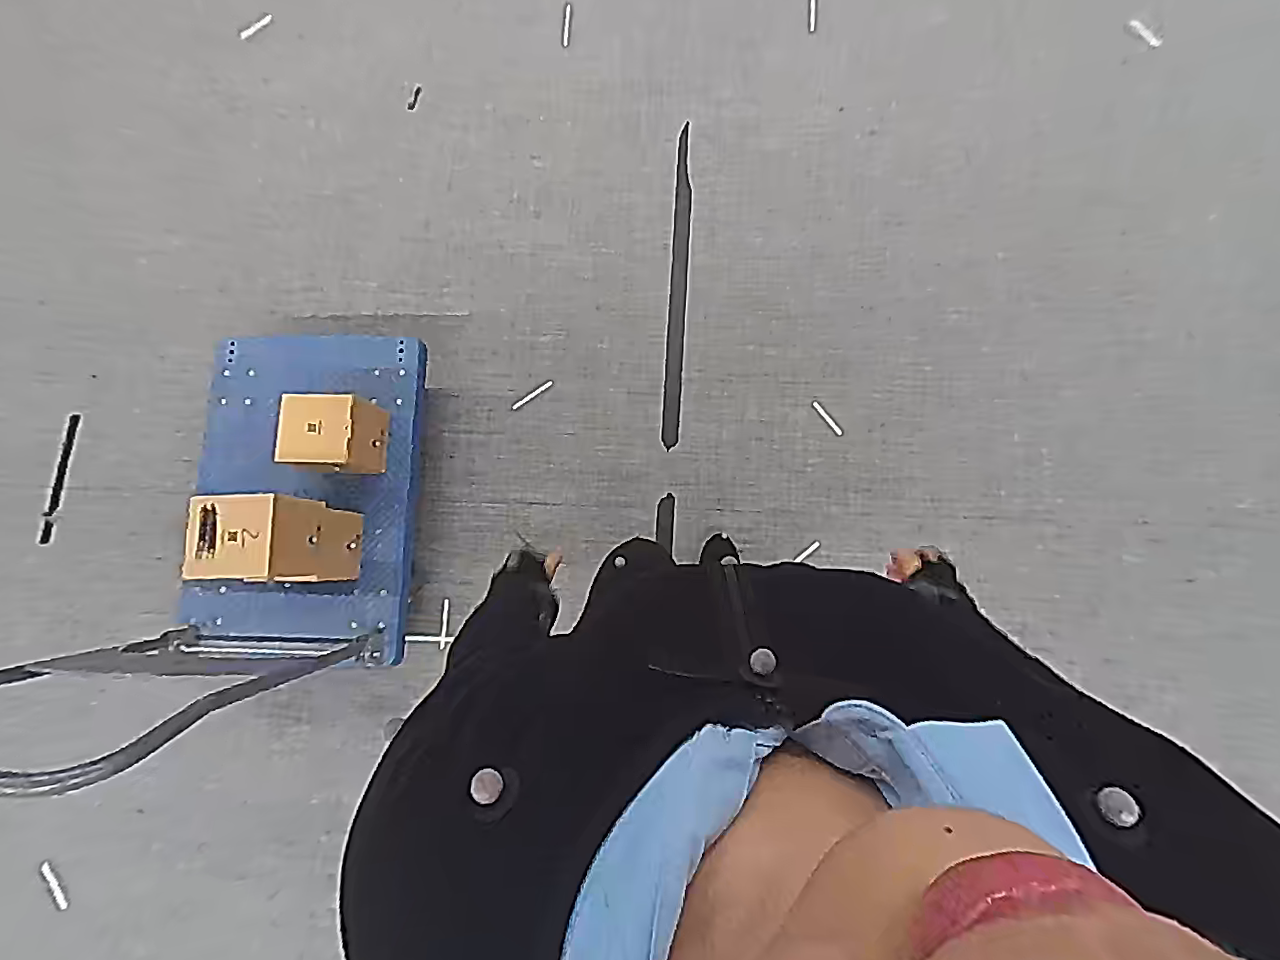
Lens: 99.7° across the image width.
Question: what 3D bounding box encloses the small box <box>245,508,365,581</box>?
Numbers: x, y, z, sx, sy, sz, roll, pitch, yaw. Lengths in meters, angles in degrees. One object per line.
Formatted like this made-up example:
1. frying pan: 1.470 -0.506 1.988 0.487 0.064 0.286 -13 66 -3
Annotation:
1. small box: -0.797 0.157 1.299 0.179 0.176 0.168 0 82 3

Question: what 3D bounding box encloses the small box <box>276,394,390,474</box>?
1. small box: -0.751 -0.109 1.338 0.179 0.176 0.168 1 82 3
